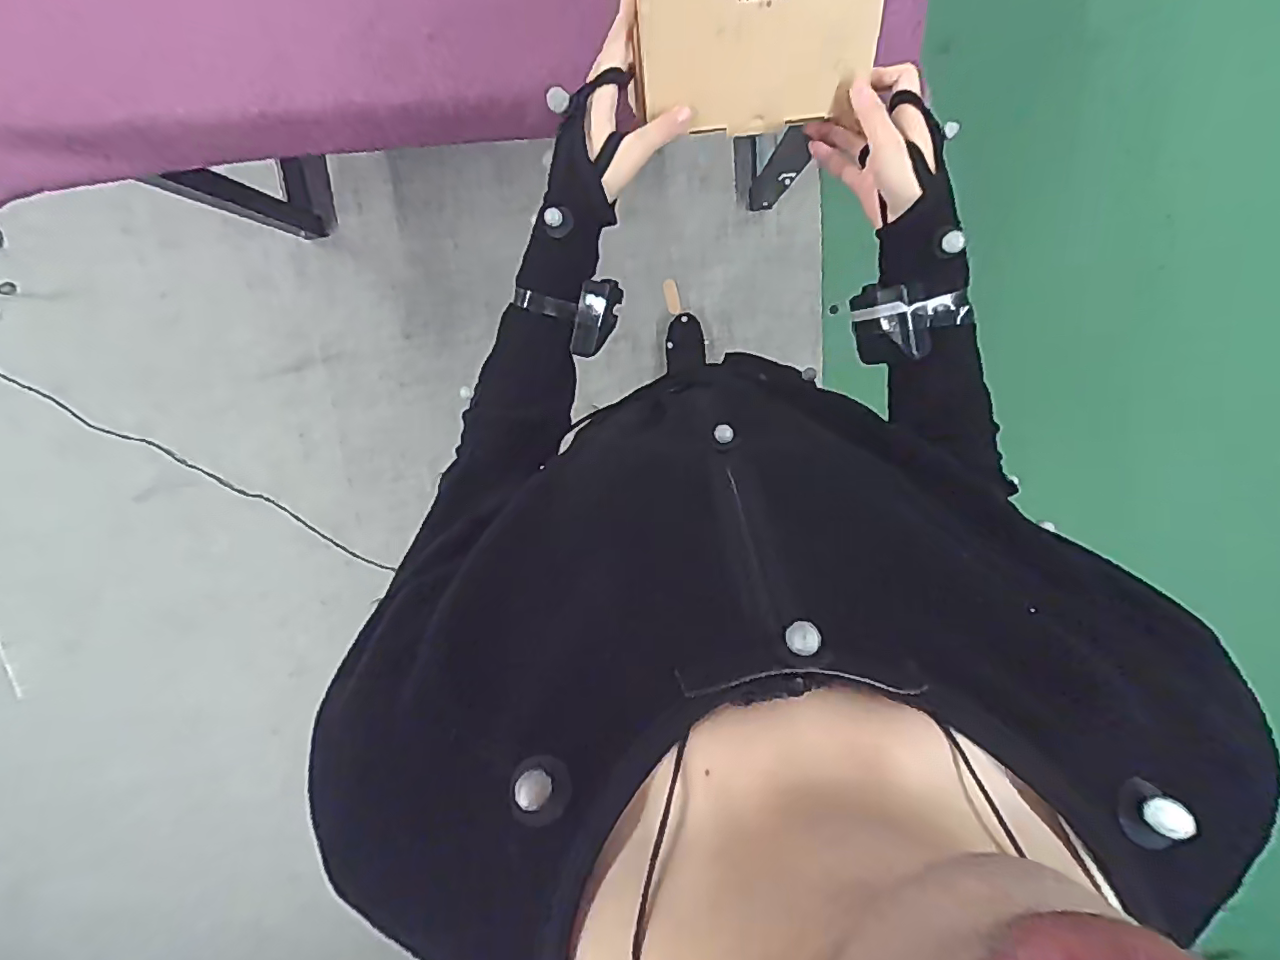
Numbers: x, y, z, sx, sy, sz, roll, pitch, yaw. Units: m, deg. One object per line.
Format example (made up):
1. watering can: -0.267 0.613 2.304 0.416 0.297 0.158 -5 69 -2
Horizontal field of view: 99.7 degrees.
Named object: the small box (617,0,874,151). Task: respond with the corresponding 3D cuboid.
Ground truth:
1. small box: 0.069 -0.376 0.408 0.168 0.176 0.179 -7 134 0
